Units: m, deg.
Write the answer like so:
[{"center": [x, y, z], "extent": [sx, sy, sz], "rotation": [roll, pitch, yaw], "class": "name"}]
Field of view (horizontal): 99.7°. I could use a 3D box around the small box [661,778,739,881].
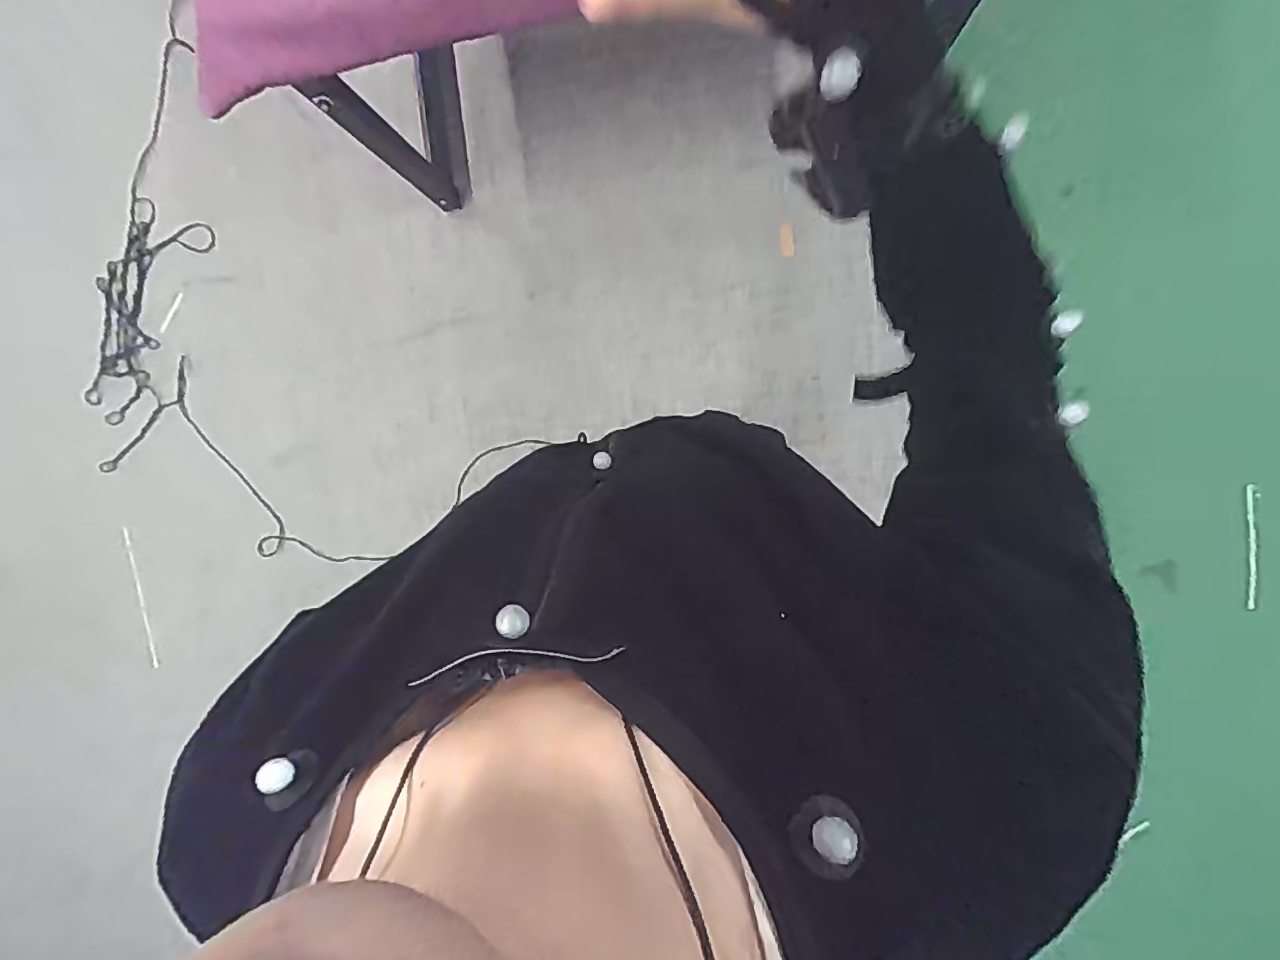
[{"center": [0.162, 0.934, 1.457], "extent": [0.179, 0.176, 0.168], "rotation": [-12, 92, 9], "class": "small box"}]
